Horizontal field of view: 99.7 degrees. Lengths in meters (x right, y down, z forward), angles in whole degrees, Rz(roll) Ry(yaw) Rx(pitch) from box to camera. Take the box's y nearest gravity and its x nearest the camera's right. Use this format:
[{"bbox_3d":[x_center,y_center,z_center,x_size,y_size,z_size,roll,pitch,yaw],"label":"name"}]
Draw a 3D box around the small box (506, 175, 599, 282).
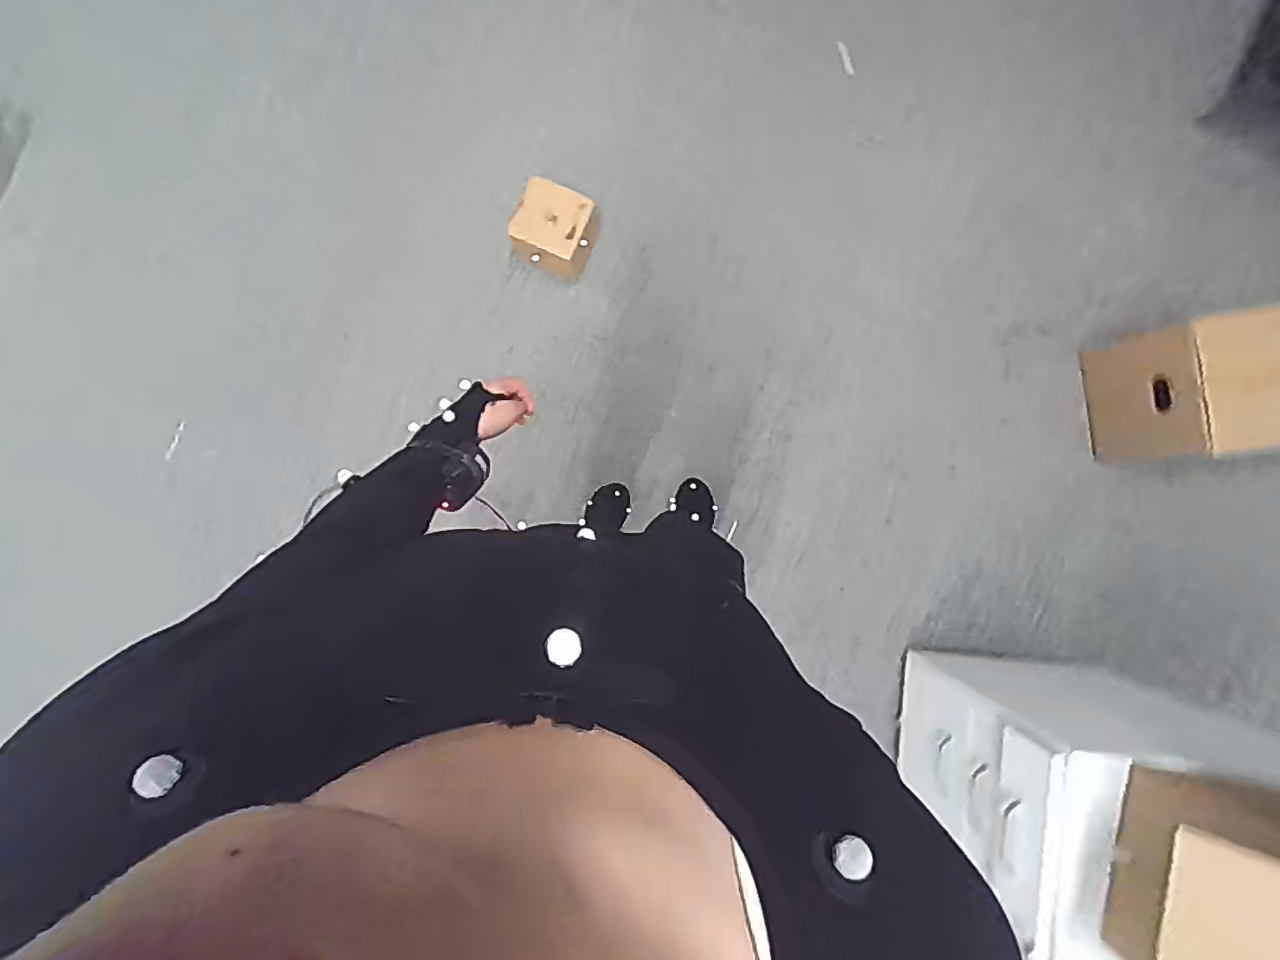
[{"bbox_3d":[-0.221,-0.650,1.420,0.179,0.176,0.168,24,89,1],"label":"small box"}]
